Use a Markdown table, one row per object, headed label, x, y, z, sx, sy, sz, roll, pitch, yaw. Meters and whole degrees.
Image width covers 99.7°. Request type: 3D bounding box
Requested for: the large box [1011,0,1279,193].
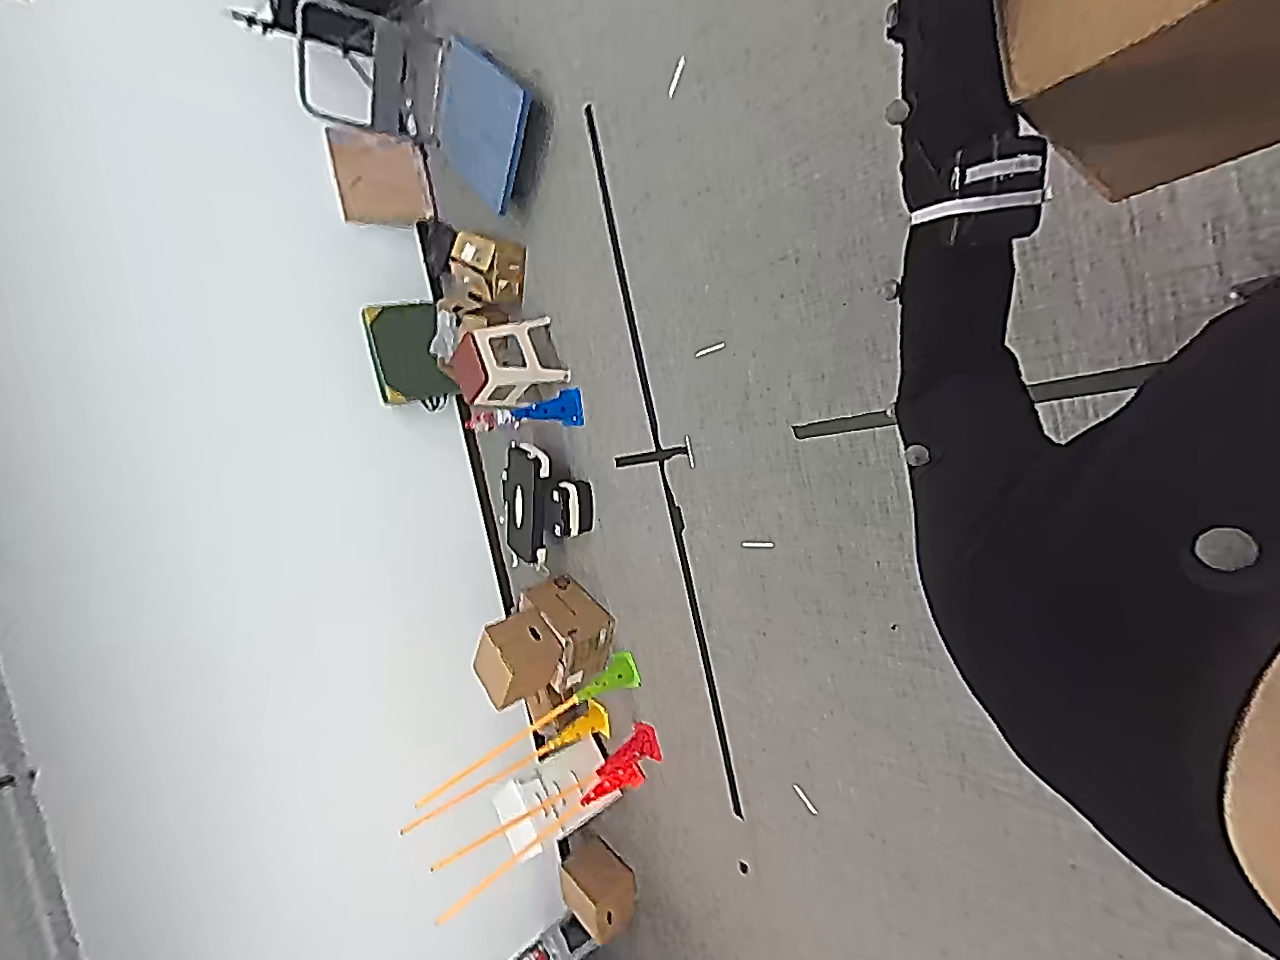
| label | x | y | z | sx | sy | sz | roll | pitch | yaw |
| --- | --- | --- | --- | --- | --- | --- | --- | --- | --- |
| large box | 0.473 | -0.438 | 0.305 | 0.408 | 0.320 | 0.320 | -6 | 92 | 50 |
